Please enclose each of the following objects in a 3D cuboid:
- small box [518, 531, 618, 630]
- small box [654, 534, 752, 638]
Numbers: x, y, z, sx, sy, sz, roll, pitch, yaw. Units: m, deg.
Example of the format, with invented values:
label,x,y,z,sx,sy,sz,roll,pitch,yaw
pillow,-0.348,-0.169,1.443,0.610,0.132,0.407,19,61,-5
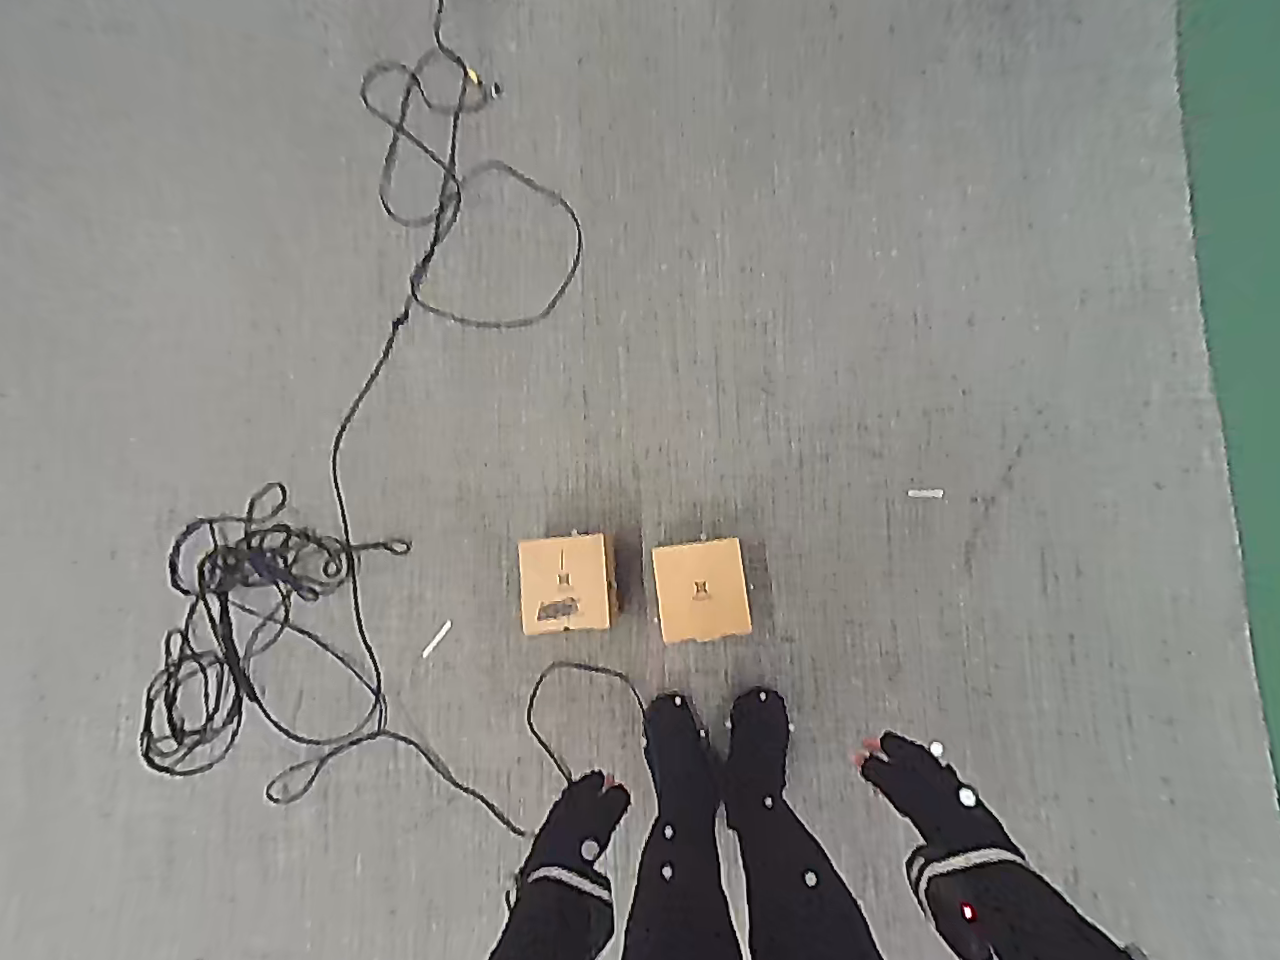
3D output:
label,x,y,z,sx,sy,sz,roll,pitch,yaw
small box,-0.138,0.194,1.085,0.168,0.176,0.179,-5,83,3
small box,0.117,0.203,1.070,0.168,0.176,0.179,-8,85,3
